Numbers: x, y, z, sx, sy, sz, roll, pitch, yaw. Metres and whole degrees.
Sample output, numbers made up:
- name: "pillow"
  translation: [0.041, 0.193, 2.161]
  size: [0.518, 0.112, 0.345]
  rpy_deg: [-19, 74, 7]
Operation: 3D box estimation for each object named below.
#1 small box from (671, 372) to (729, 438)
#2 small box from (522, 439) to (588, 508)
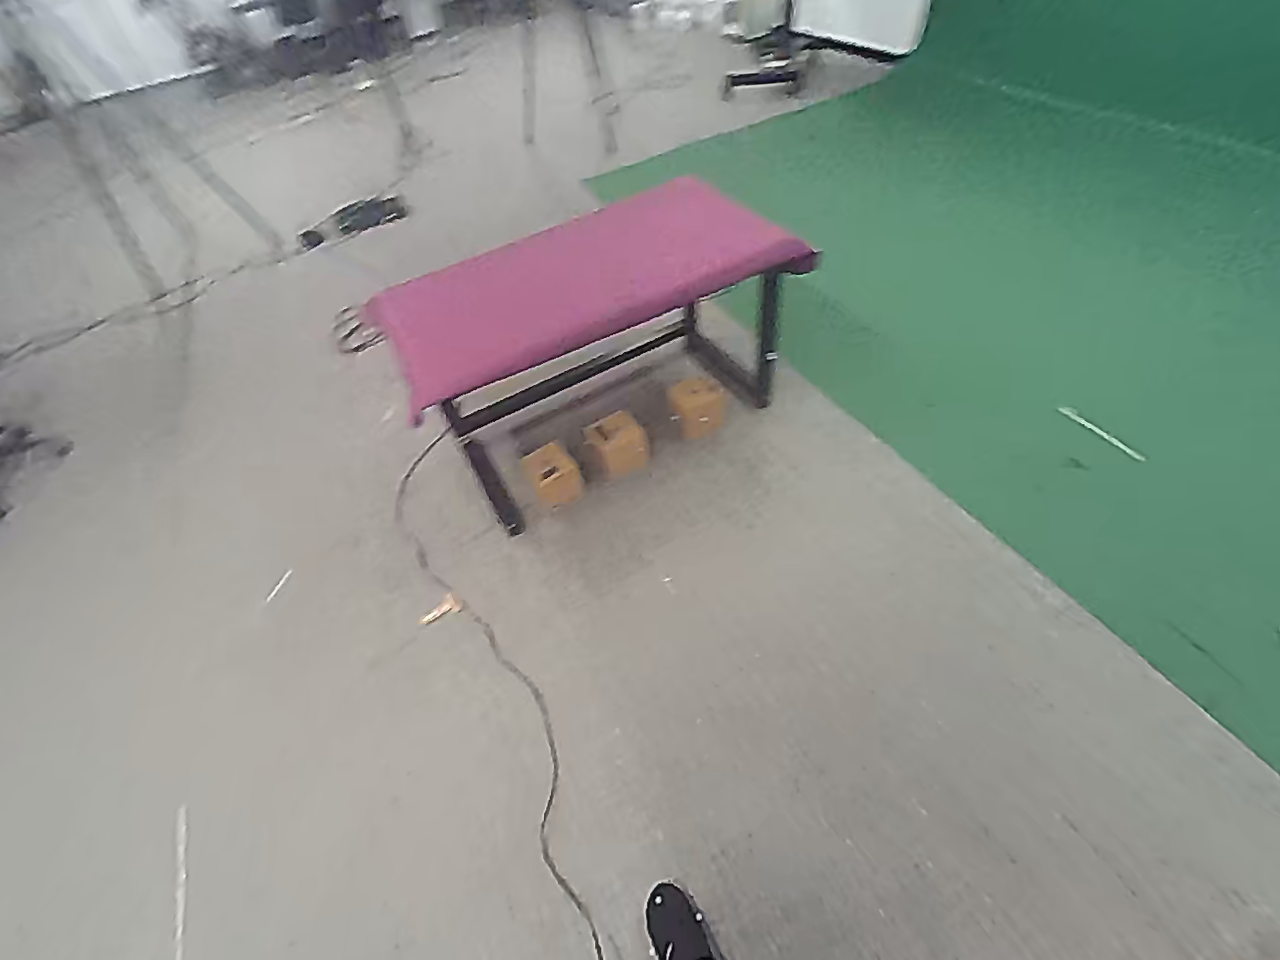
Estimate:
- name: "small box"
  translation: [0.244, -0.297, 2.168]
  size: [0.179, 0.176, 0.168]
  rpy_deg: [-24, 52, -10]
- name: "small box"
  translation: [-0.313, -0.016, 2.031]
  size: [0.168, 0.176, 0.179]
  rpy_deg: [-30, 53, -15]
